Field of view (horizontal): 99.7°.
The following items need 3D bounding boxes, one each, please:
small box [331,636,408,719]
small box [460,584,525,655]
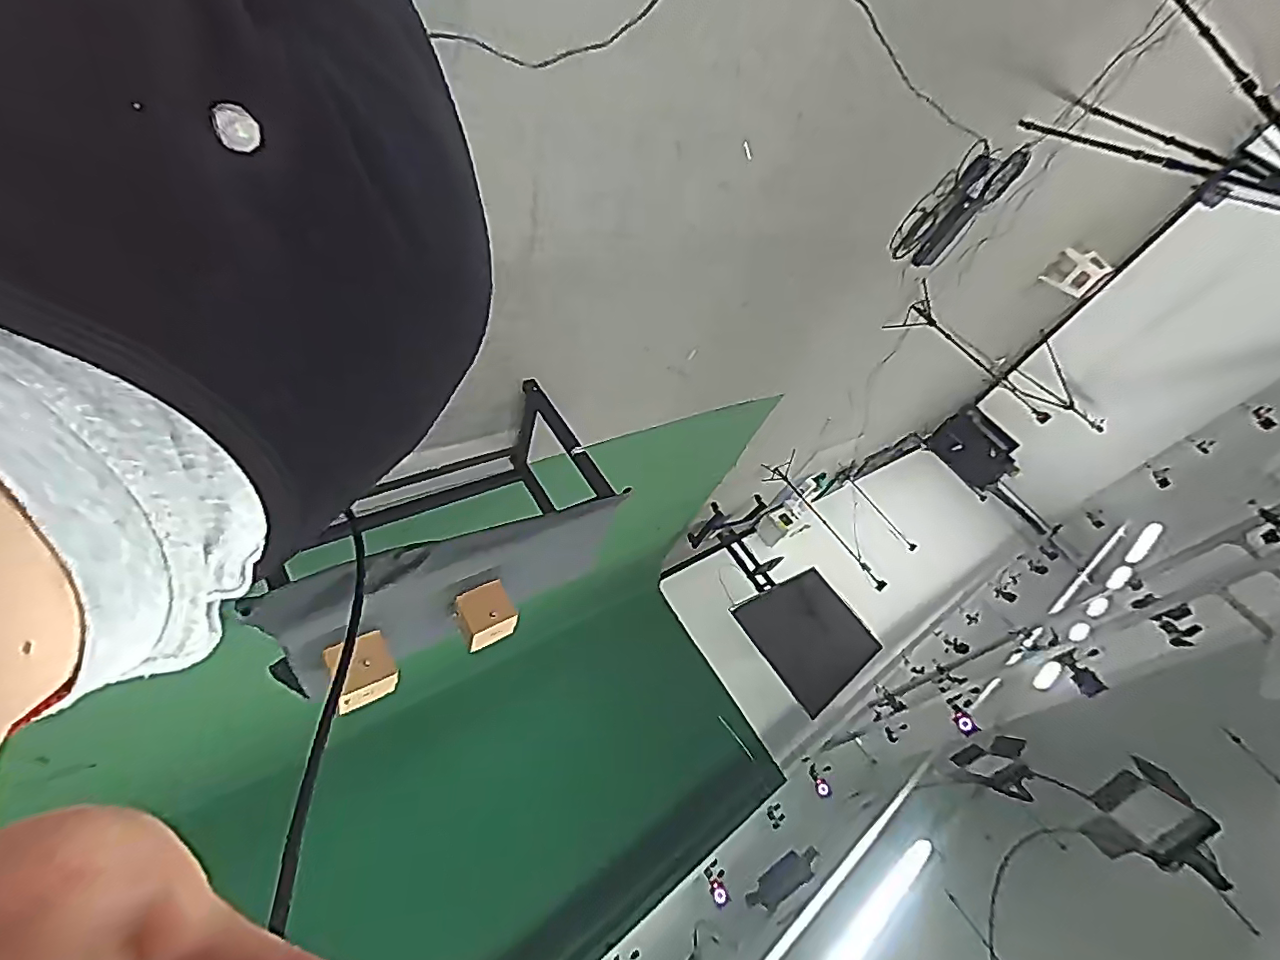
[{"bbox_3d":[-0.890,0.642,1.775,0.179,0.176,0.168,-18,150,-39],"label":"small box"},{"bbox_3d":[-0.555,0.518,2.027,0.179,0.176,0.168,-19,150,-33],"label":"small box"}]
